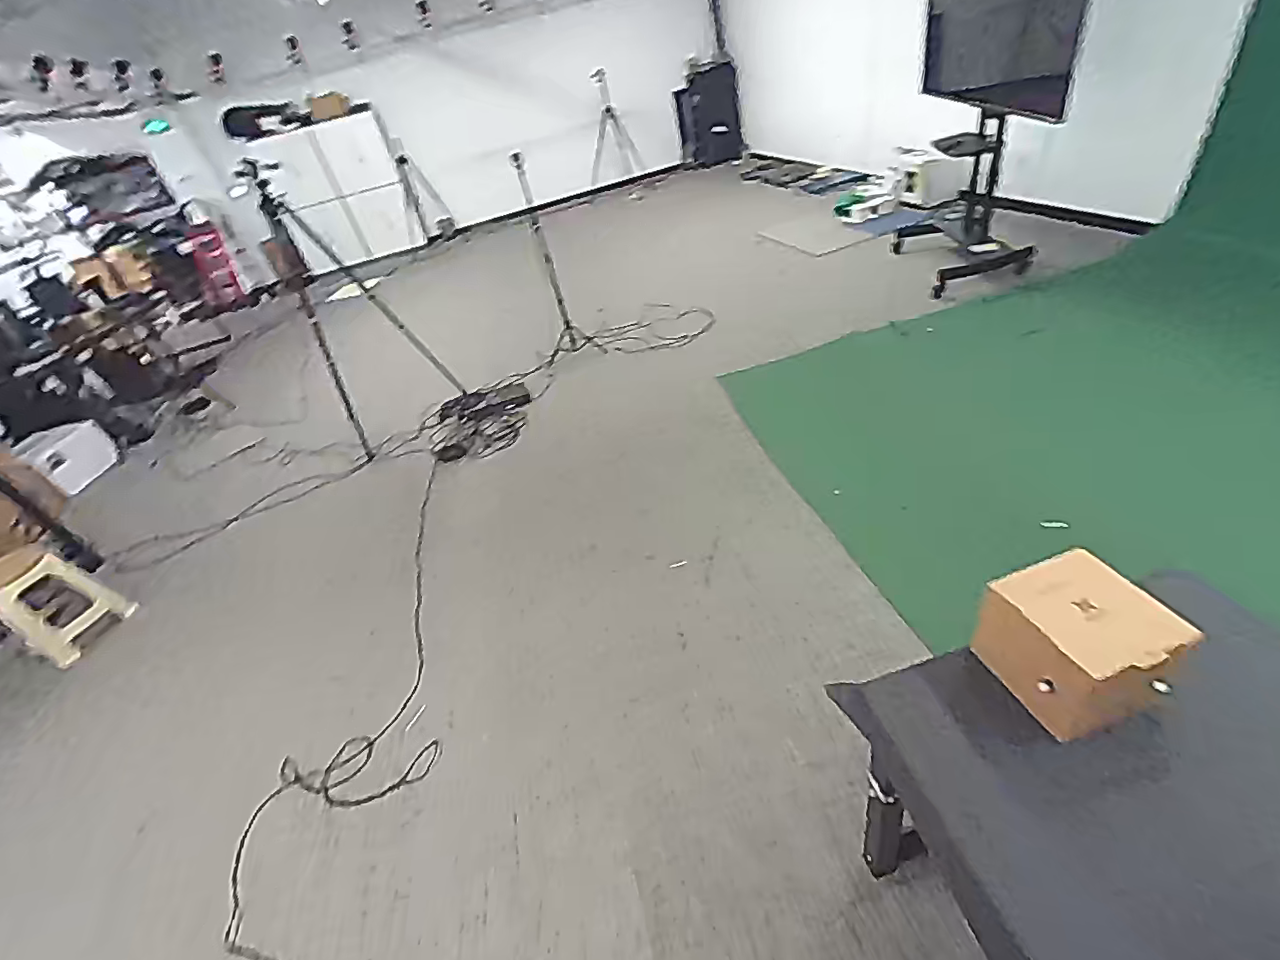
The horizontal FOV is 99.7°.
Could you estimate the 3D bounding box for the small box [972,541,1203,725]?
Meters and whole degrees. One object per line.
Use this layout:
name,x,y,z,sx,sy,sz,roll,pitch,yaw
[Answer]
small box,0.625,0.225,0.784,0.168,0.176,0.179,-18,37,-6
